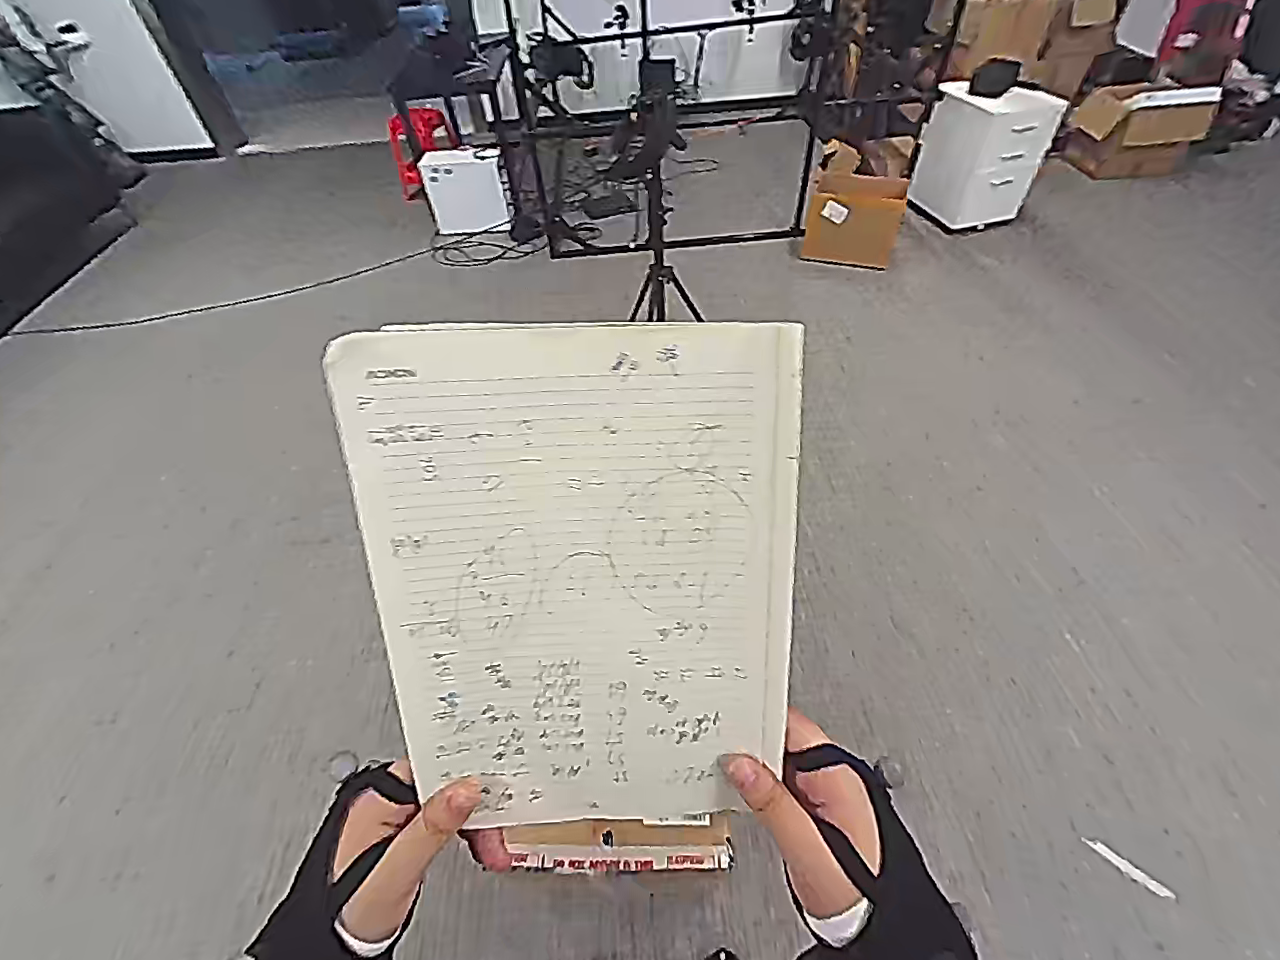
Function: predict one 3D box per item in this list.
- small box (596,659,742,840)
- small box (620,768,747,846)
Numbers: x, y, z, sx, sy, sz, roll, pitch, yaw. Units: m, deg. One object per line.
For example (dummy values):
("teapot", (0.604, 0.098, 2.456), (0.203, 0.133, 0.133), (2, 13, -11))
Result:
("small box", (0.035, 0.356, 0.712), (0.168, 0.176, 0.179), (2, 51, 2))
("small box", (0.057, 0.460, 0.839), (0.179, 0.176, 0.168), (-2, 50, 0))
